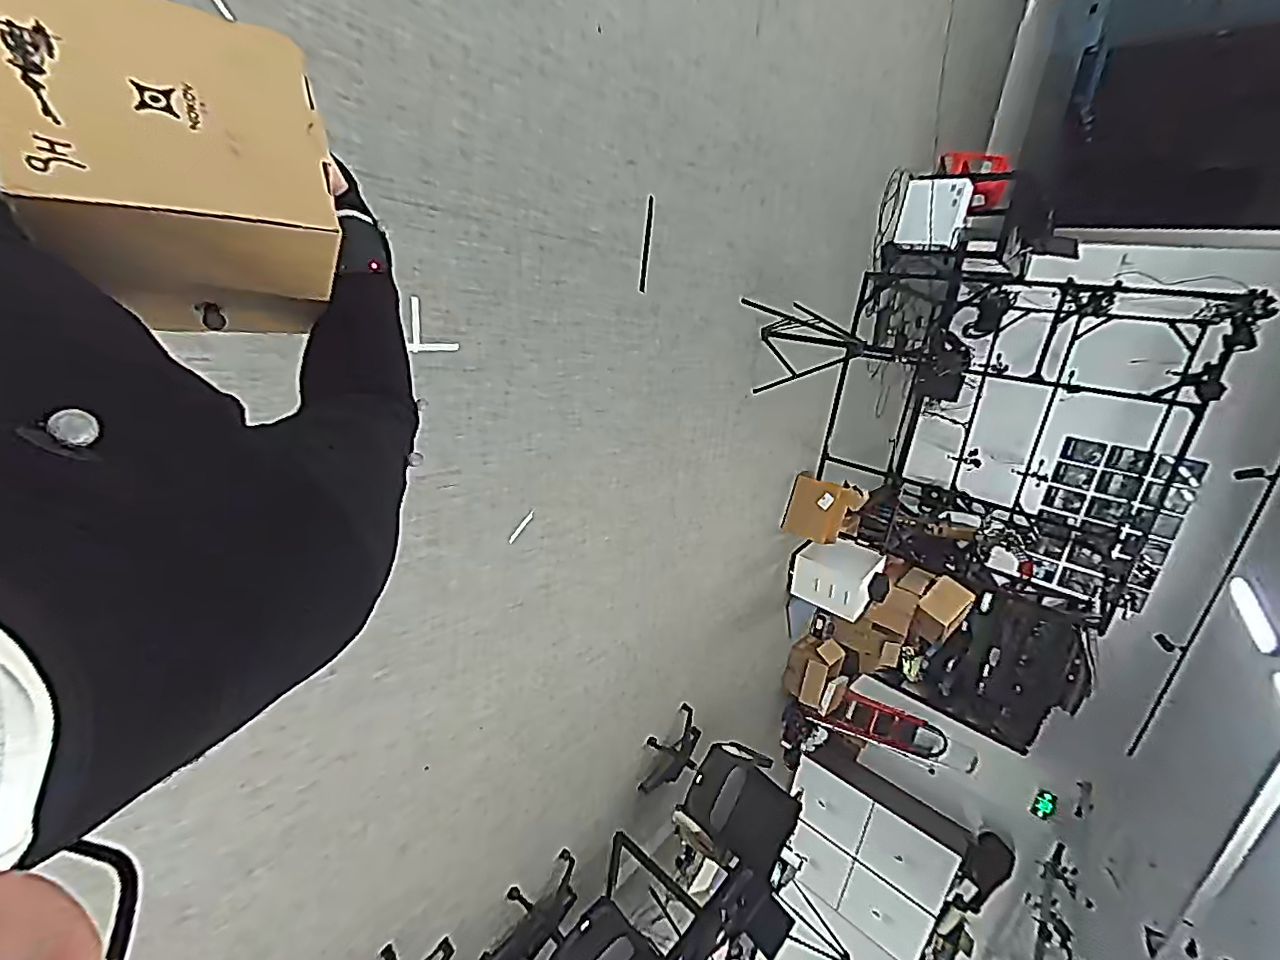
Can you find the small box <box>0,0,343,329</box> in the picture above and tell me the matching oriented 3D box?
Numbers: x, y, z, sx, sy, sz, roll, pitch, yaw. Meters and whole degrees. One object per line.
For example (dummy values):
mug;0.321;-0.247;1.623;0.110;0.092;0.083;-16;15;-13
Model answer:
small box;-0.366;-0.238;0.444;0.179;0.176;0.168;-10;81;-37
